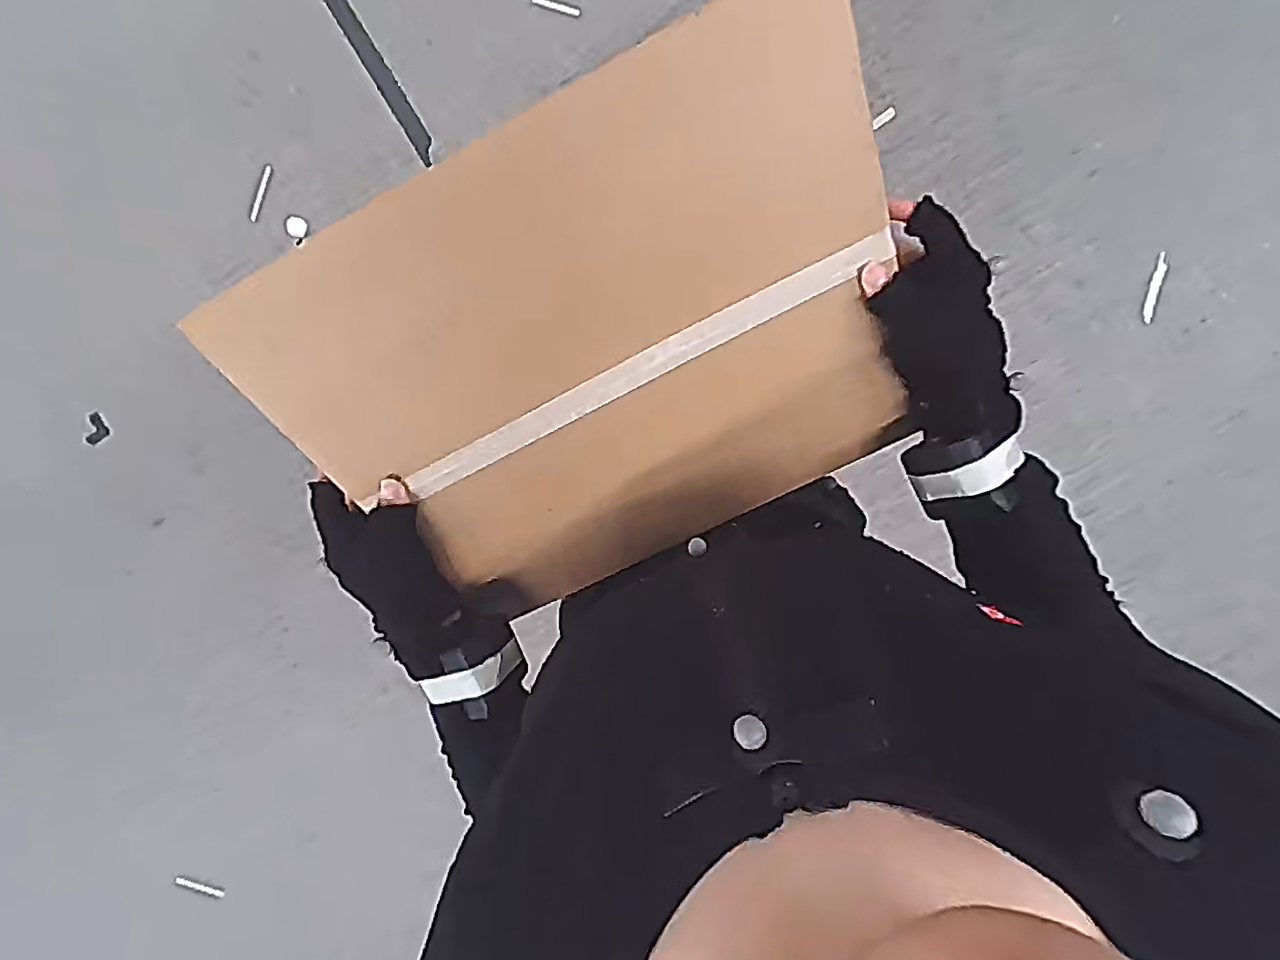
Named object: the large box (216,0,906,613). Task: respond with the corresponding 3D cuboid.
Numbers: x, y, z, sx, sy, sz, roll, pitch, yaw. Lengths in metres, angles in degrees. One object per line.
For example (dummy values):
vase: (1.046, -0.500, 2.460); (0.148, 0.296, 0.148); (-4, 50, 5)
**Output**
large box: (-0.045, -0.153, 0.506); (0.408, 0.320, 0.320); (-26, 124, 7)
